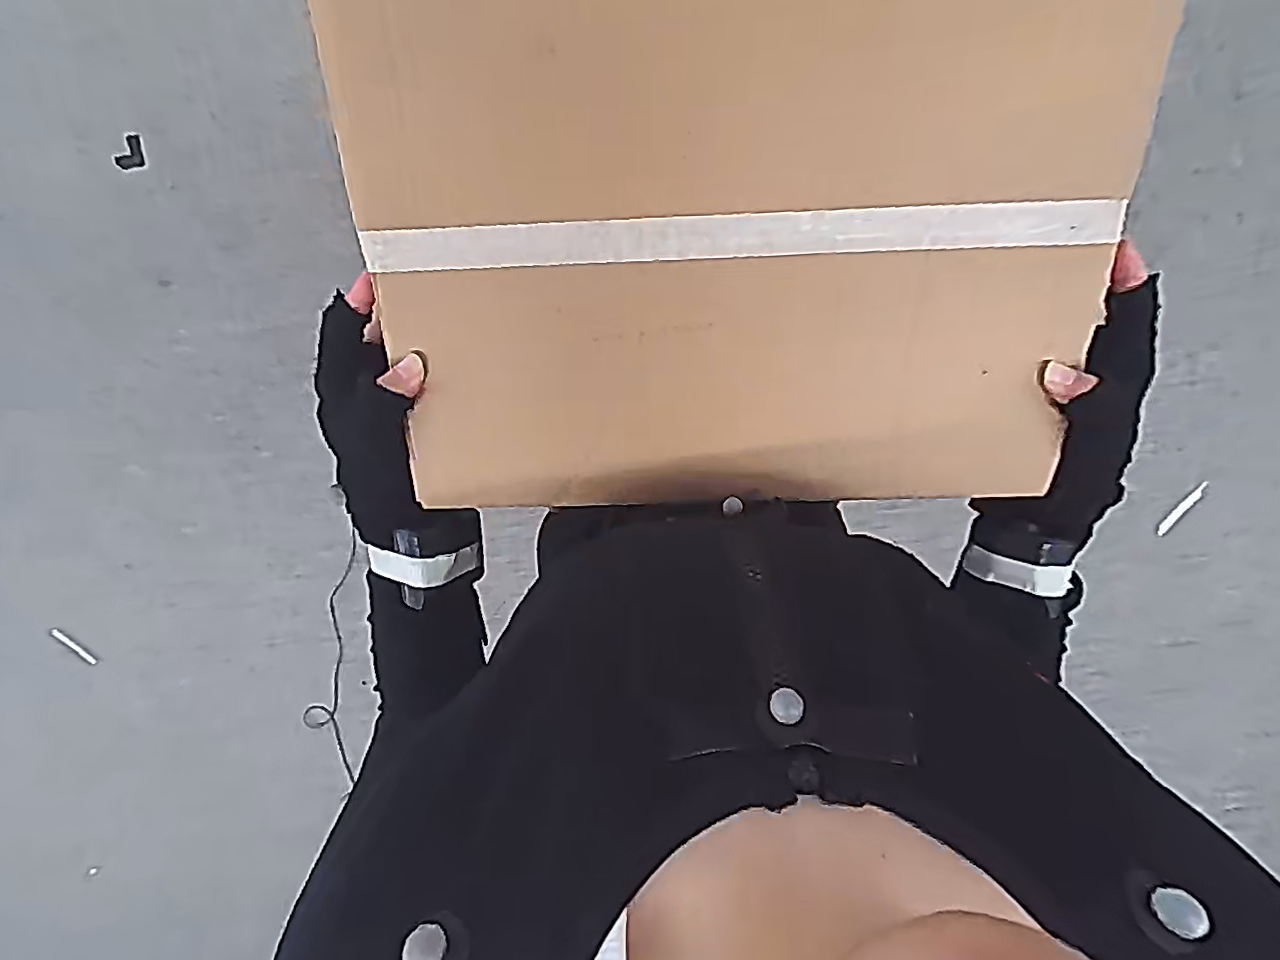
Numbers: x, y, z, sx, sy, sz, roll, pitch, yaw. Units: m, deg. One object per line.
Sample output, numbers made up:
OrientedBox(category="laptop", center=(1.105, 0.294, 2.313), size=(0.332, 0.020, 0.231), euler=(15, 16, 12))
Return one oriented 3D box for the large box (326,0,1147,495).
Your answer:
OrientedBox(category="large box", center=(0.049, -0.194, 0.439), size=(0.408, 0.320, 0.320), euler=(-1, 113, 1))
